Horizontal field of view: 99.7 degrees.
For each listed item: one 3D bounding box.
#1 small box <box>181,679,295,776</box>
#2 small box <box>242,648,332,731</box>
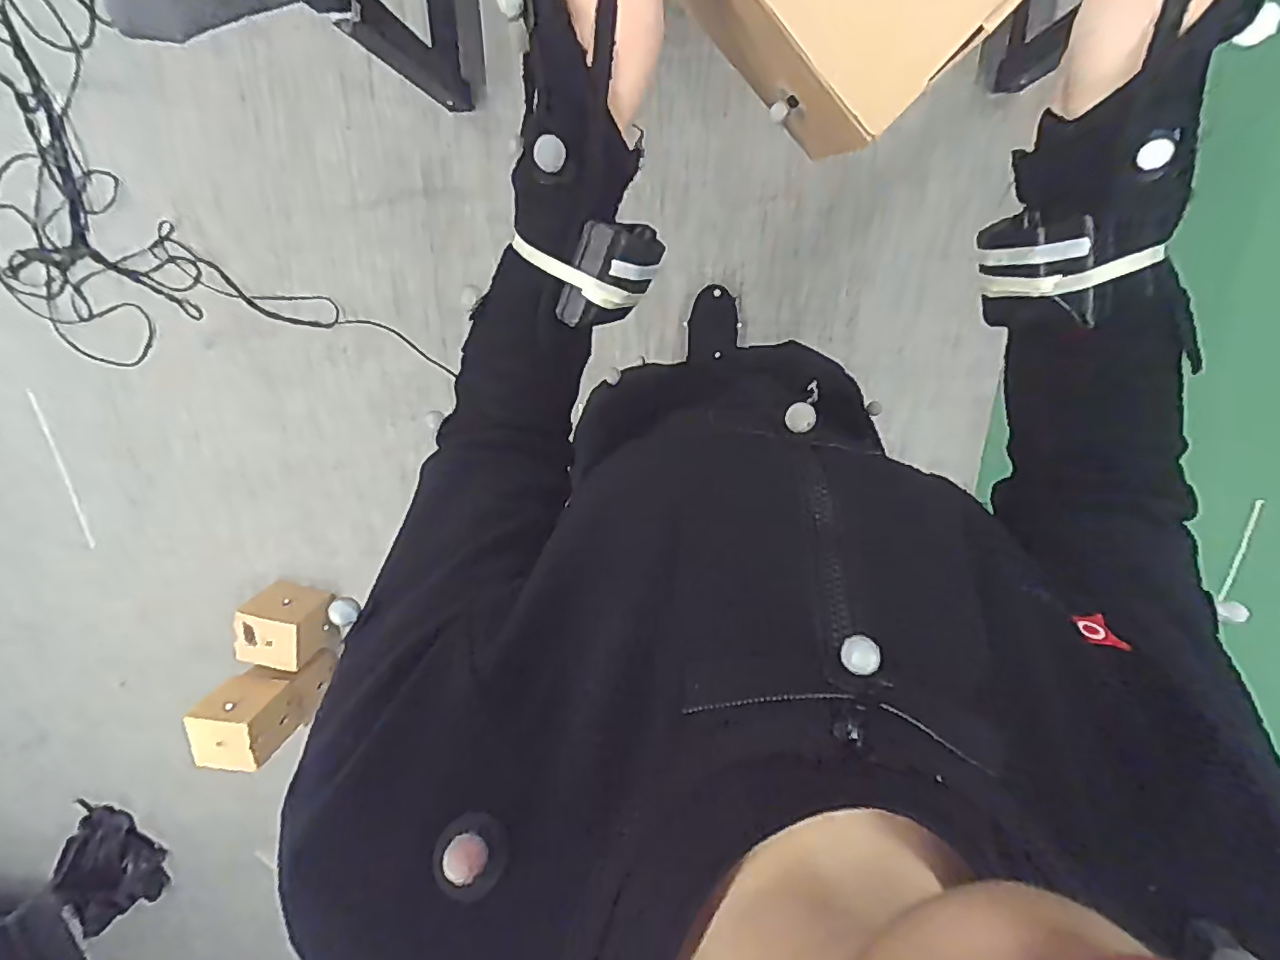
[{"bbox_3d":[-1.089,0.669,1.478,0.179,0.176,0.168,4,109,3],"label":"small box"},{"bbox_3d":[-1.062,0.628,1.635,0.179,0.176,0.168,4,110,3],"label":"small box"}]
